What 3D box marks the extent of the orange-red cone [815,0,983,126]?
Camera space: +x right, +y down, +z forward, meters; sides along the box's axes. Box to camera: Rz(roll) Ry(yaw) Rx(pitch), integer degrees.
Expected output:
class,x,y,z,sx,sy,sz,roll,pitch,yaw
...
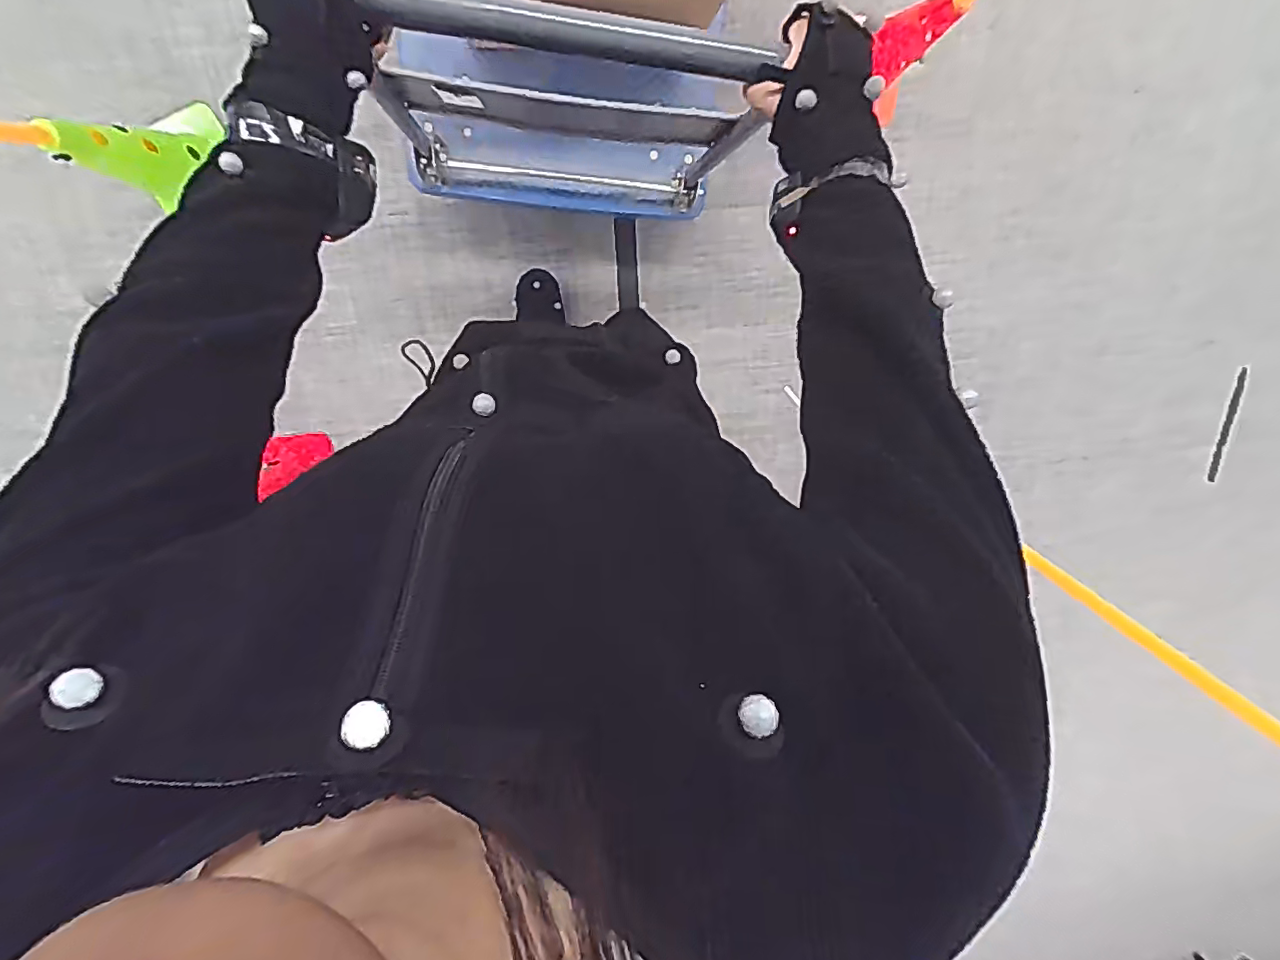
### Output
class,x,y,z,sx,sy,sz,roll,pitch,yaw
orange-red cone,0.516,-0.841,1.035,0.199,0.360,0.198,0,111,-9
